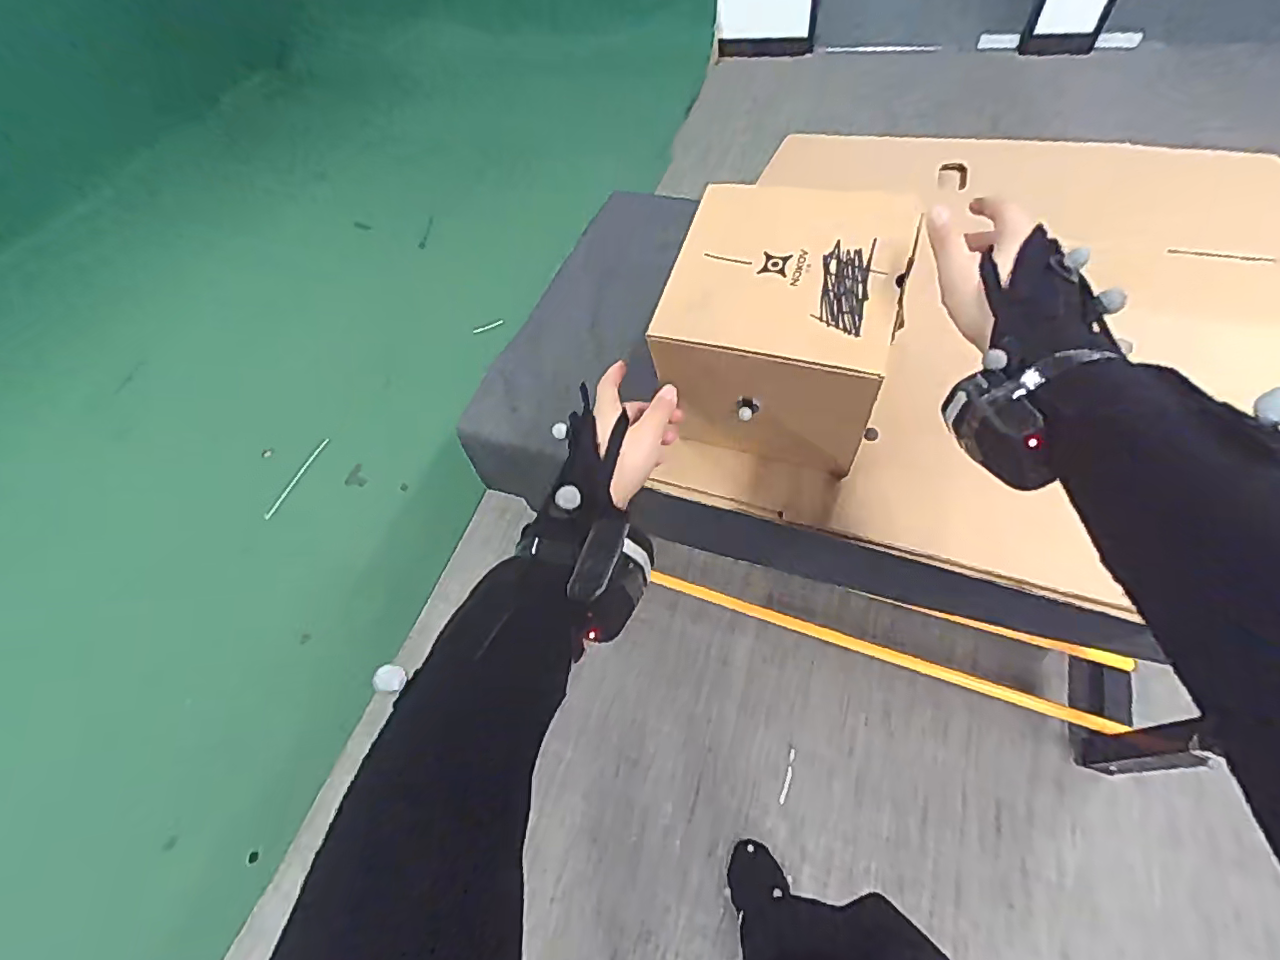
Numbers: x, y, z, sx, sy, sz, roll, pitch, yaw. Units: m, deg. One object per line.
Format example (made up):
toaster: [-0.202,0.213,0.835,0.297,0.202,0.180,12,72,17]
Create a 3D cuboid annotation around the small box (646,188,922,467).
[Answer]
small box: [0.127,-0.128,0.490,0.179,0.176,0.168,15,71,19]
